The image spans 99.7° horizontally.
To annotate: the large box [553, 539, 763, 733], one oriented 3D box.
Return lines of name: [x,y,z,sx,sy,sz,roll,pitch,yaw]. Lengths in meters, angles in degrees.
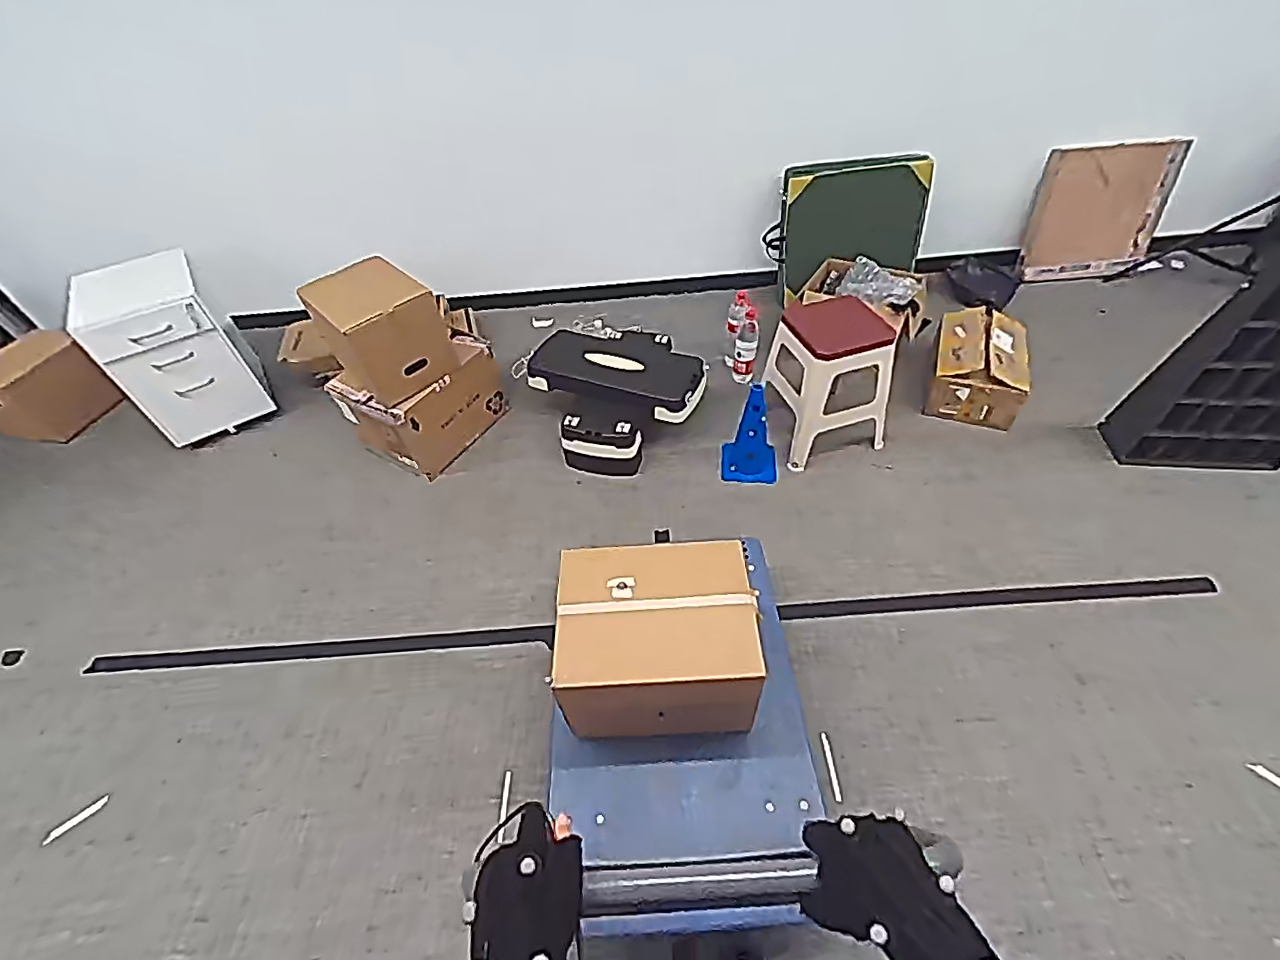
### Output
large box: [0.039,0.359,1.226,0.408,0.320,0.320,-4,48,2]
